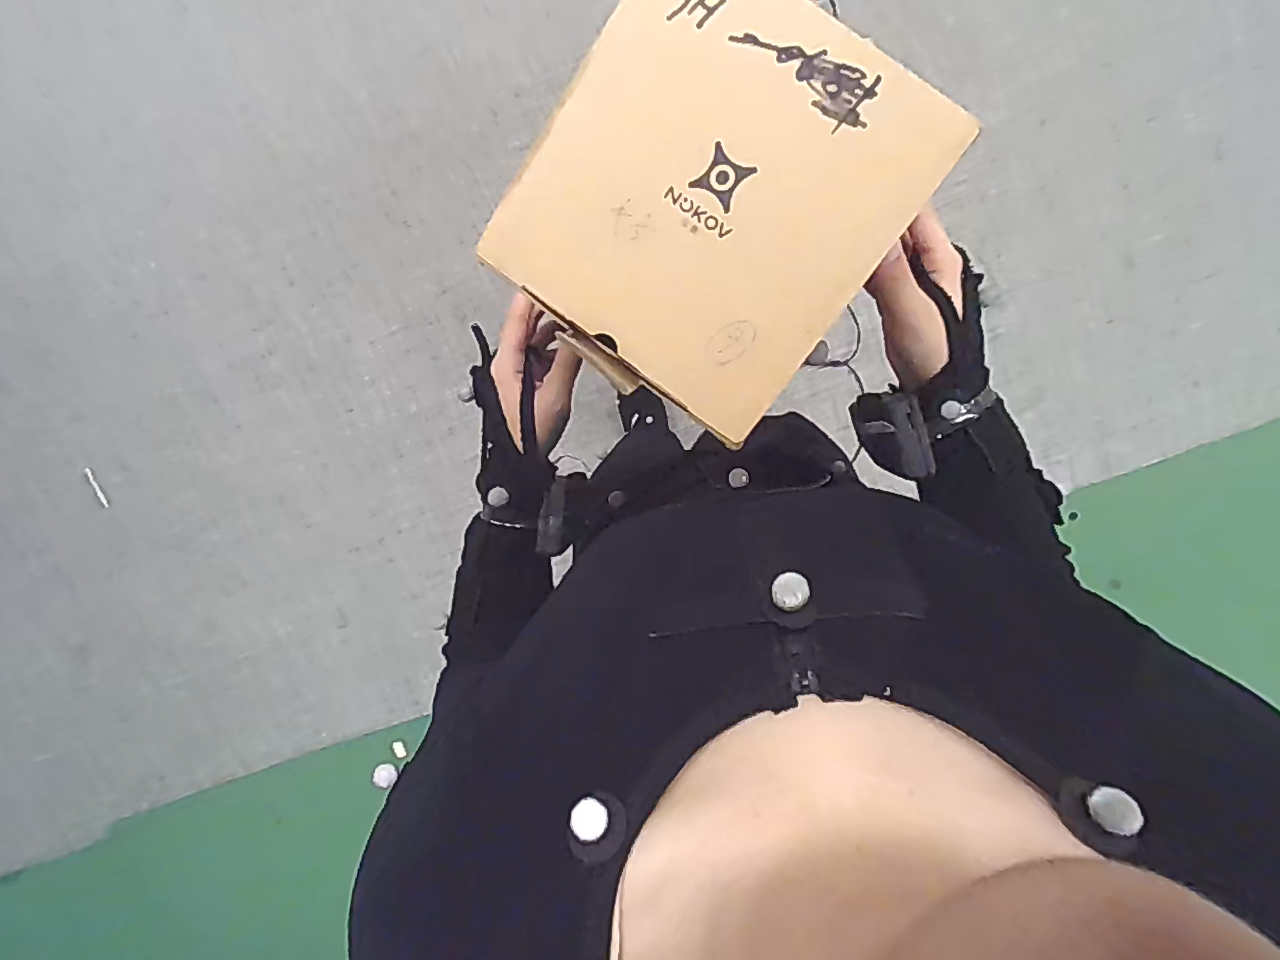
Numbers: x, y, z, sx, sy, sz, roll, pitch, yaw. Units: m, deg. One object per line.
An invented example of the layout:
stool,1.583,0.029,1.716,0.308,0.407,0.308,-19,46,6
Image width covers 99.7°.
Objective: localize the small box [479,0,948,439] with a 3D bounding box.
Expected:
small box,0.040,-0.146,0.341,0.168,0.176,0.179,37,101,2
